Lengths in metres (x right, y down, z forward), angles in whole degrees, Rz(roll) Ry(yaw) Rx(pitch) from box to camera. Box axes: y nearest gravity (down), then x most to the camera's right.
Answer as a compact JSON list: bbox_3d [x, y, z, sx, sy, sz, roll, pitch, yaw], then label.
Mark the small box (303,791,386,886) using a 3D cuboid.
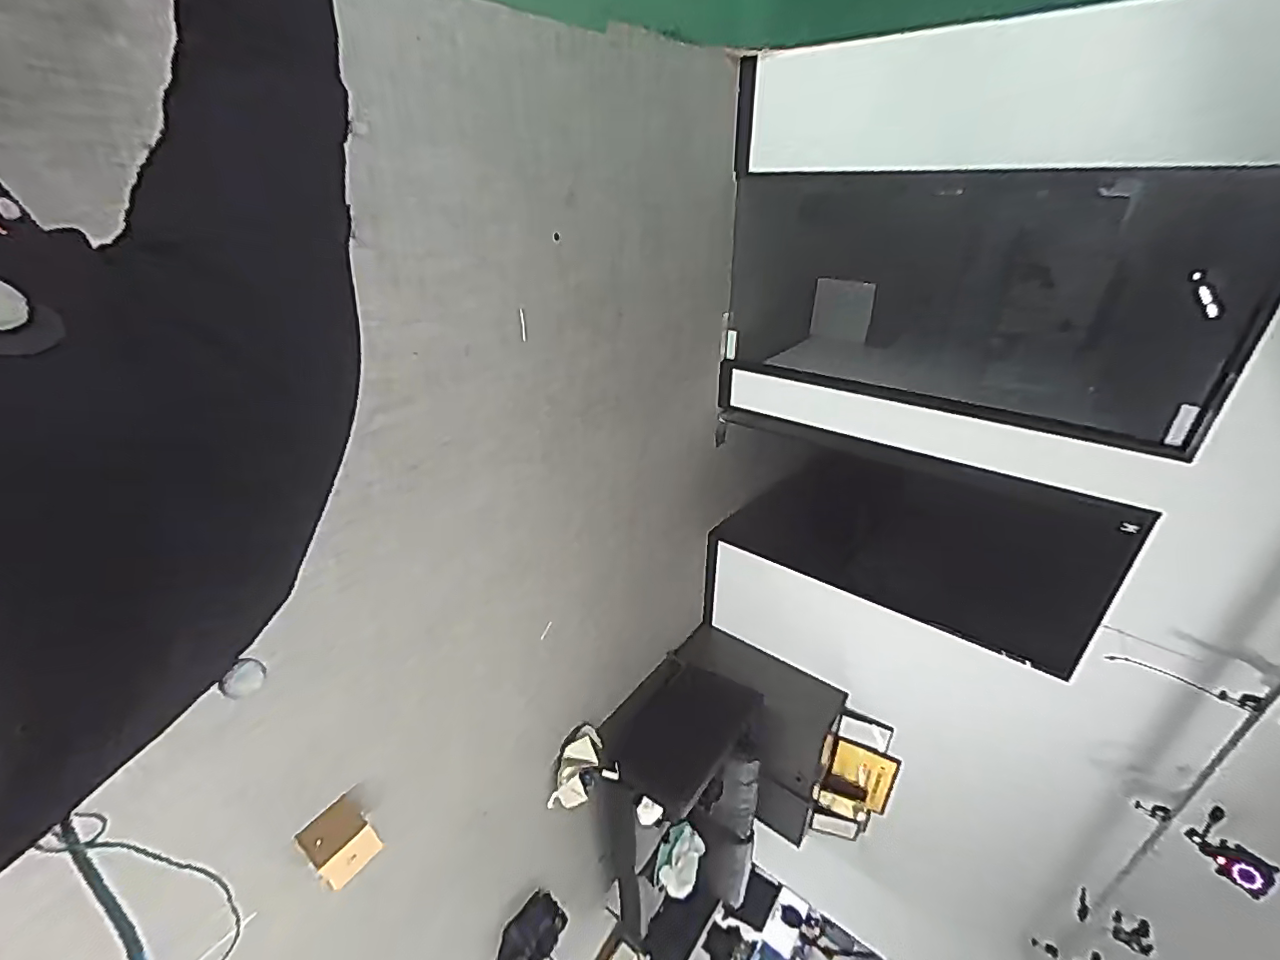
[{"bbox_3d":[-1.013,1.215,1.841,0.179,0.176,0.168,-38,137,-41],"label":"small box"}]
